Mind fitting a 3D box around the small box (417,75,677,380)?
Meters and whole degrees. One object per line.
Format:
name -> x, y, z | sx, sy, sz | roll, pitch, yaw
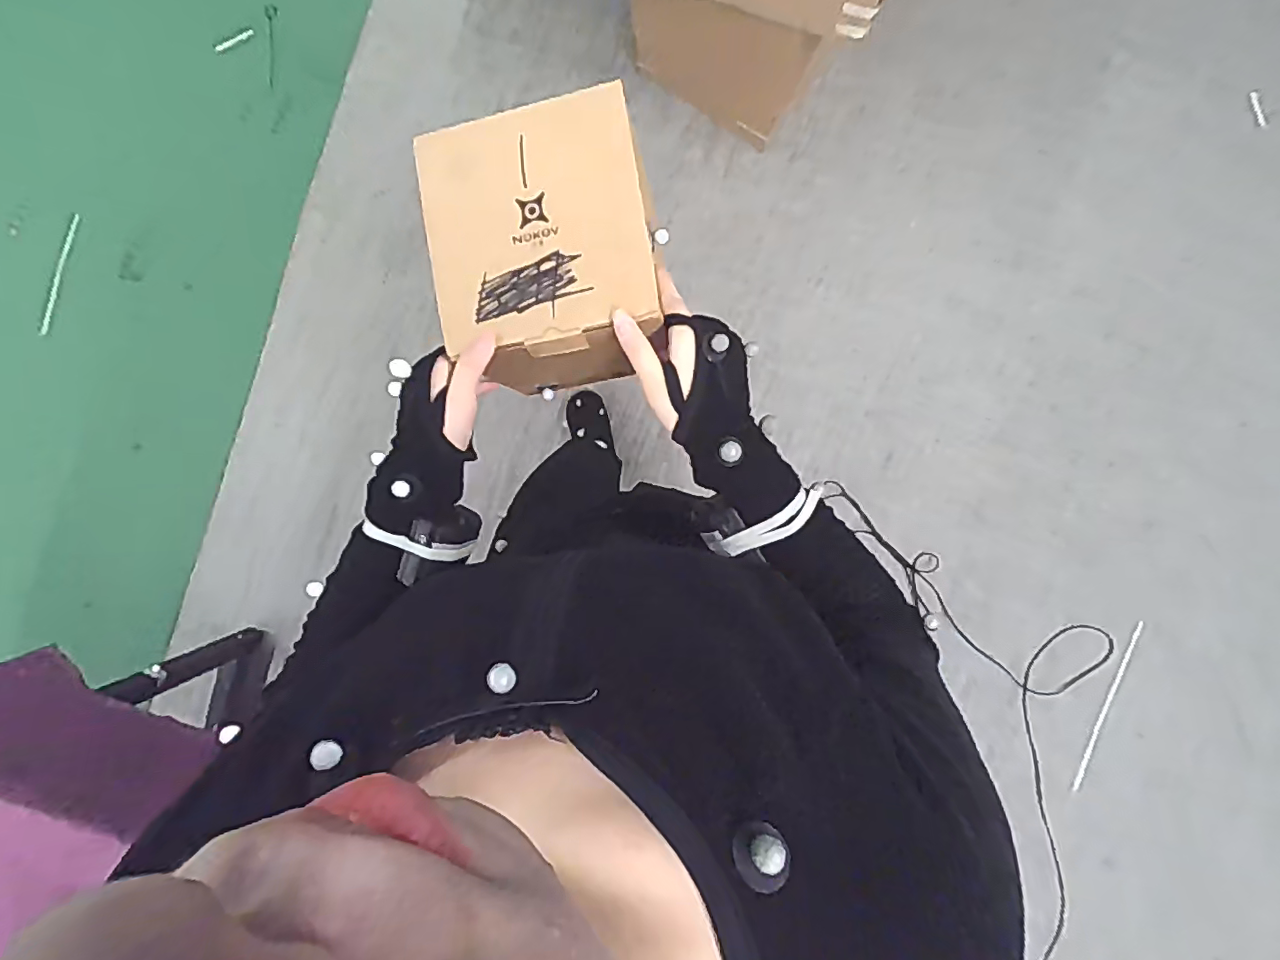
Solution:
small box -> -0.066, -0.194, 0.478 | 0.168, 0.176, 0.179 | -10, 88, 9
